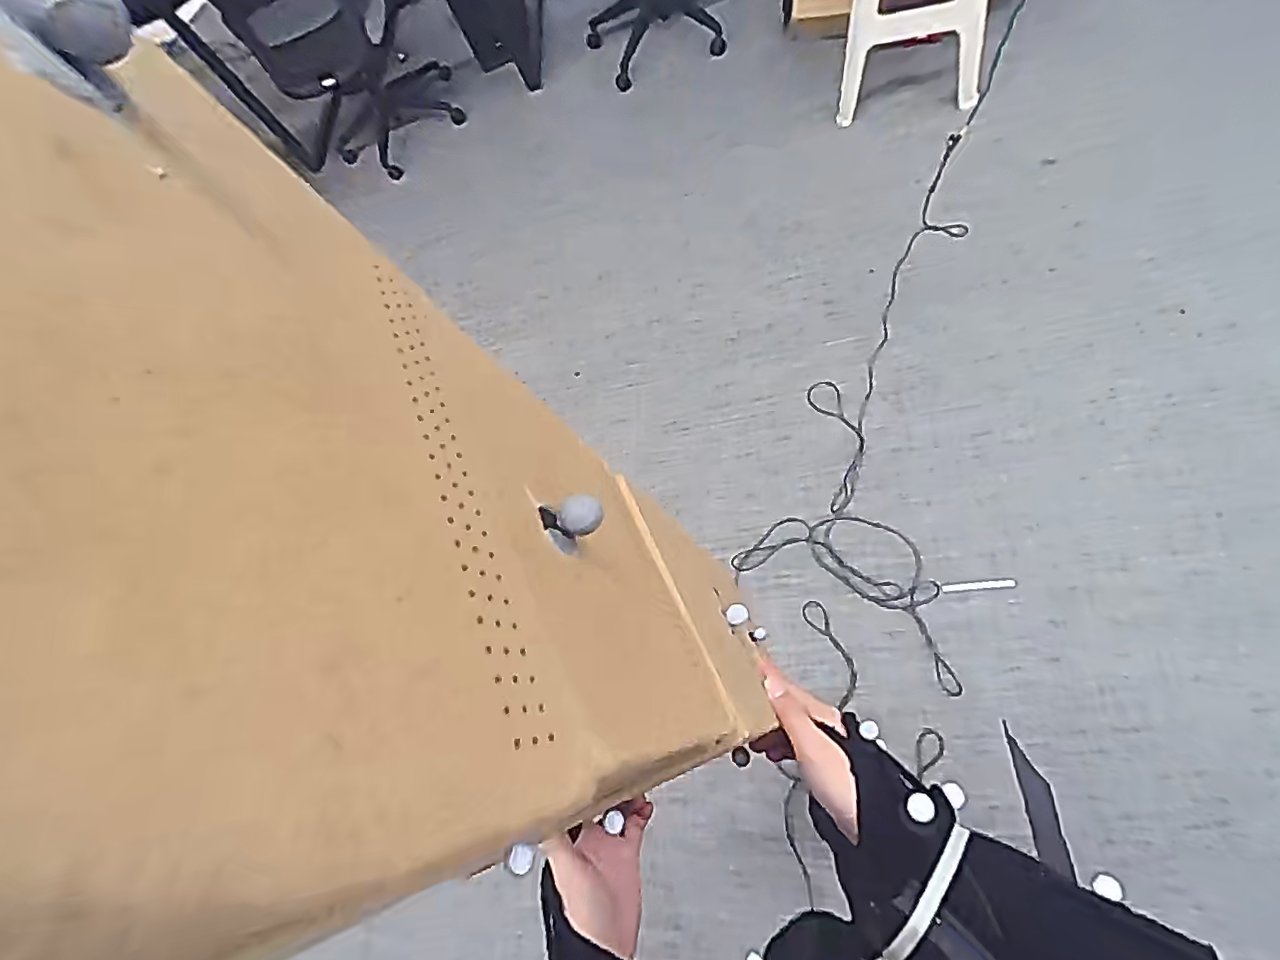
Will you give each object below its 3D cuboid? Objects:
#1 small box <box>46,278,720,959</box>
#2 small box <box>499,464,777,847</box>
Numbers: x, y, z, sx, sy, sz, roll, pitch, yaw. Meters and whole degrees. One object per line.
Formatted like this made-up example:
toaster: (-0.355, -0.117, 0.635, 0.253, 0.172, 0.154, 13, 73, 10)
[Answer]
small box: (-0.086, 0.060, 0.237, 0.168, 0.176, 0.179, -31, 62, 8)
small box: (-0.025, 0.123, 0.374, 0.179, 0.176, 0.168, -30, 62, 8)
